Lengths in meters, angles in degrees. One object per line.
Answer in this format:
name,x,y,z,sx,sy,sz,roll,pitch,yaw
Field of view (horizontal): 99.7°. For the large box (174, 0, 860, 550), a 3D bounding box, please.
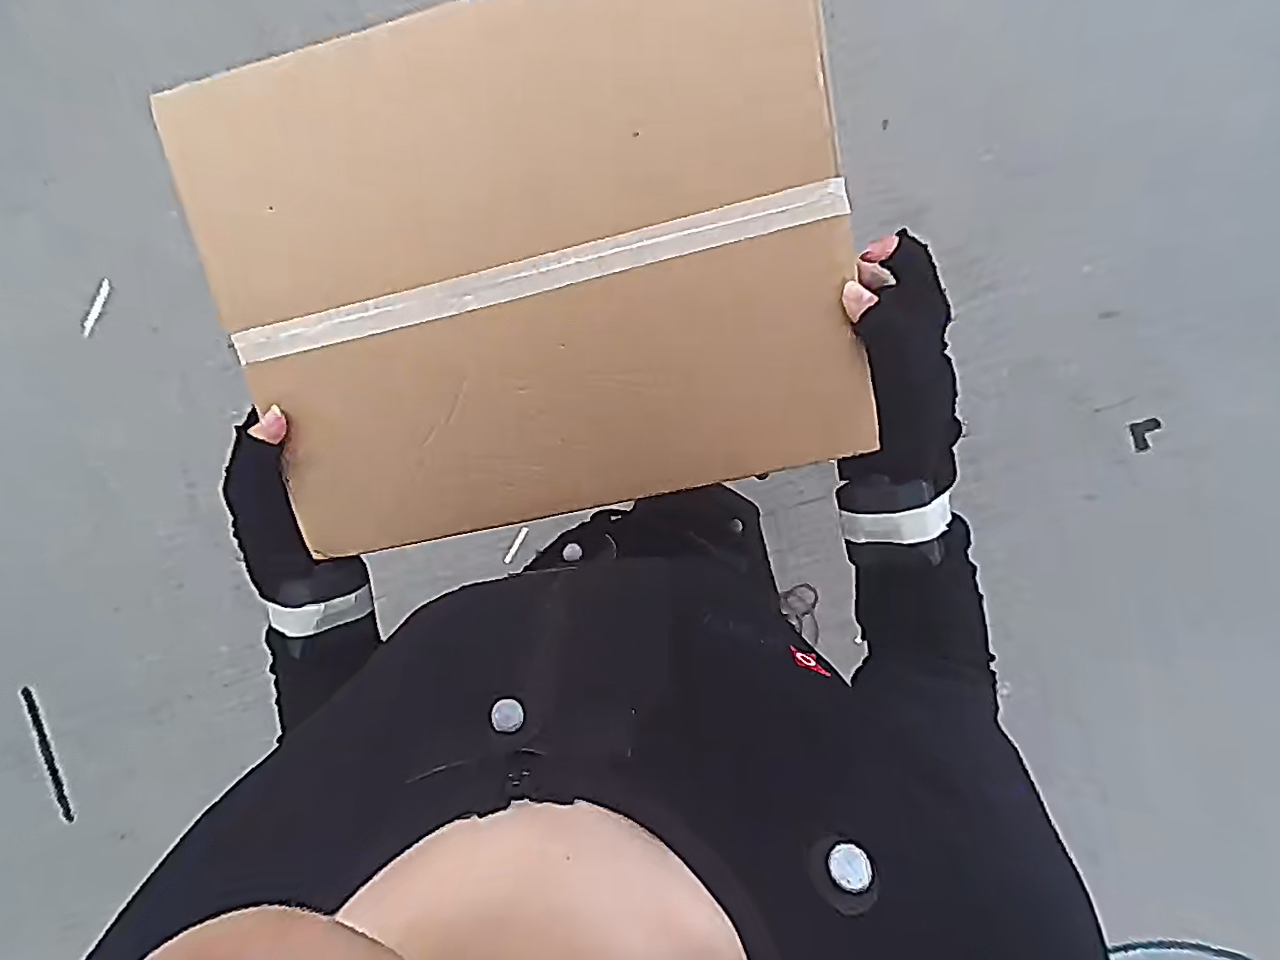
large box,-0.066,-0.166,0.500,0.408,0.320,0.320,-12,101,7
